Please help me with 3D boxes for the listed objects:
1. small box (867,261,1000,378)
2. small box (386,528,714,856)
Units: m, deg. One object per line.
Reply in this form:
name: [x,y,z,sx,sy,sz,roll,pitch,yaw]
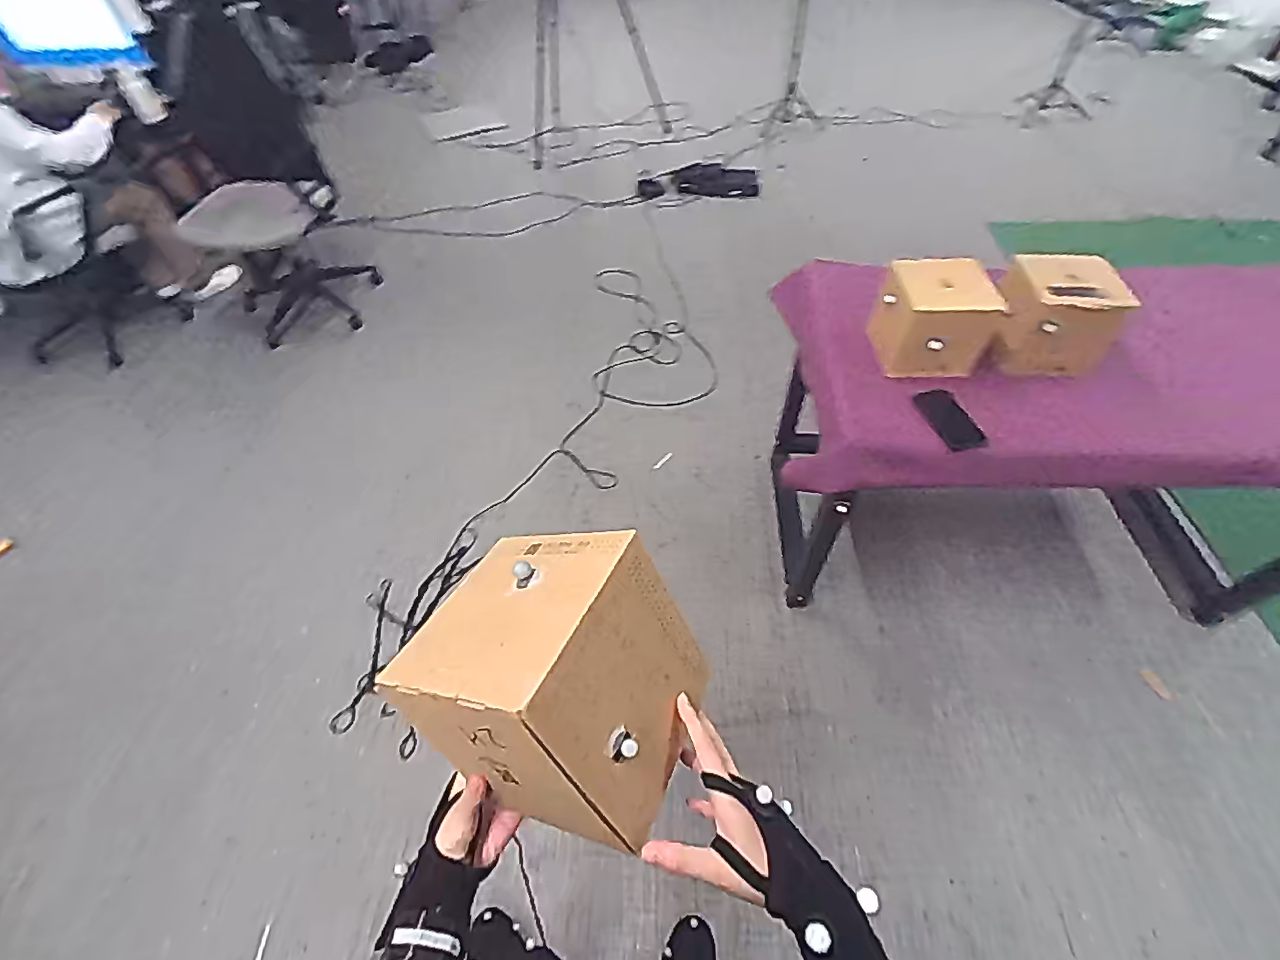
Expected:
small box: [0.584,-0.322,1.102,0.168,0.176,0.179,-1,50,3]
small box: [-0.057,0.159,0.450,0.168,0.179,0.176,-6,32,34]
